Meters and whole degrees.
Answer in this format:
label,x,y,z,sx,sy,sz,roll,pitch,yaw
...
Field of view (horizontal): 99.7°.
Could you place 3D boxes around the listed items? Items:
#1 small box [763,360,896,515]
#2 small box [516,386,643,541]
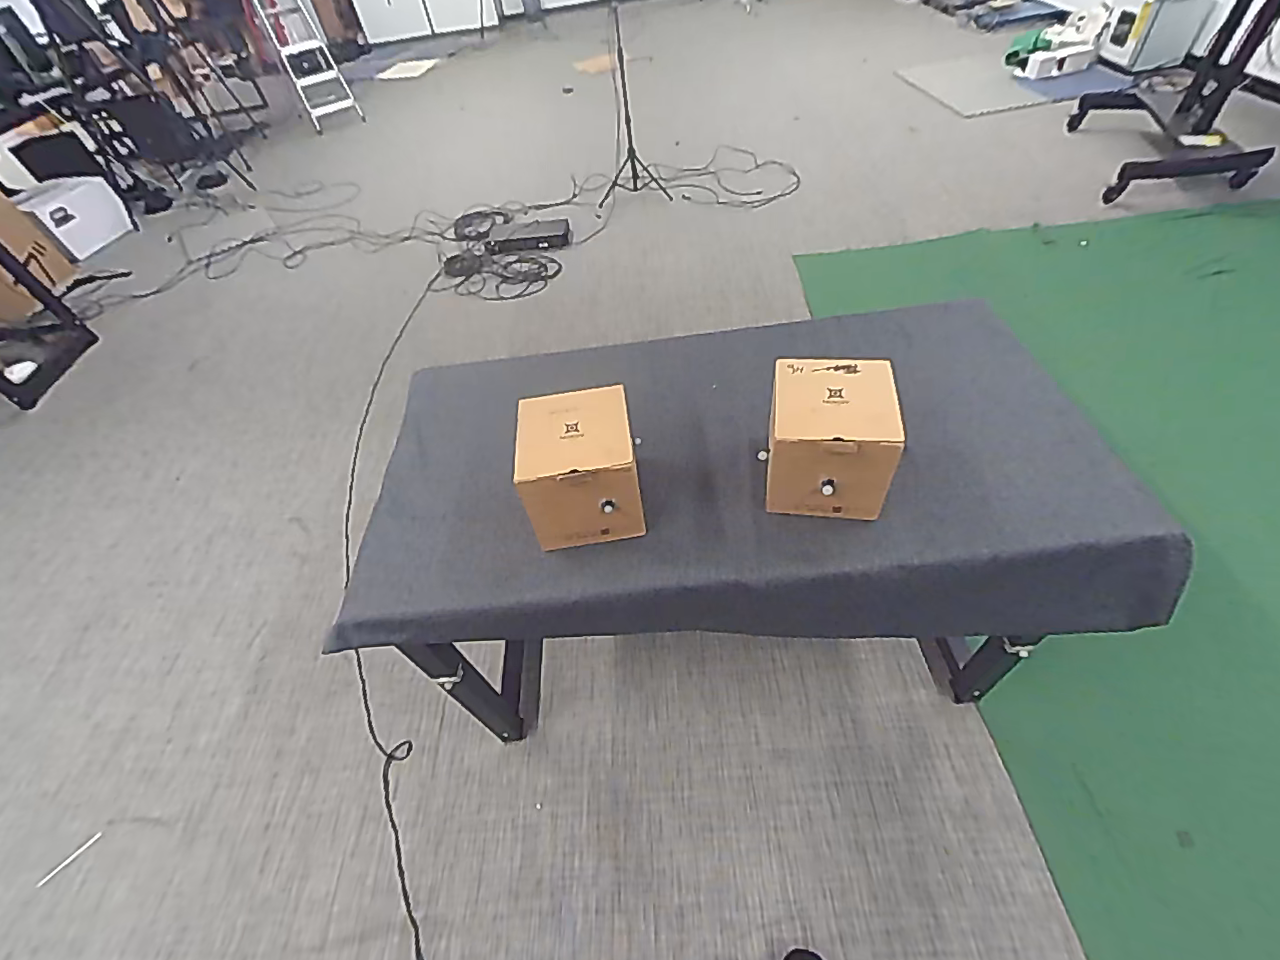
label,x,y,z,sx,sy,sz,roll,pitch,yaw
small box,0.281,-0.064,0.833,0.168,0.176,0.179,4,51,11
small box,-0.090,-0.019,0.849,0.168,0.176,0.179,-8,46,-1
